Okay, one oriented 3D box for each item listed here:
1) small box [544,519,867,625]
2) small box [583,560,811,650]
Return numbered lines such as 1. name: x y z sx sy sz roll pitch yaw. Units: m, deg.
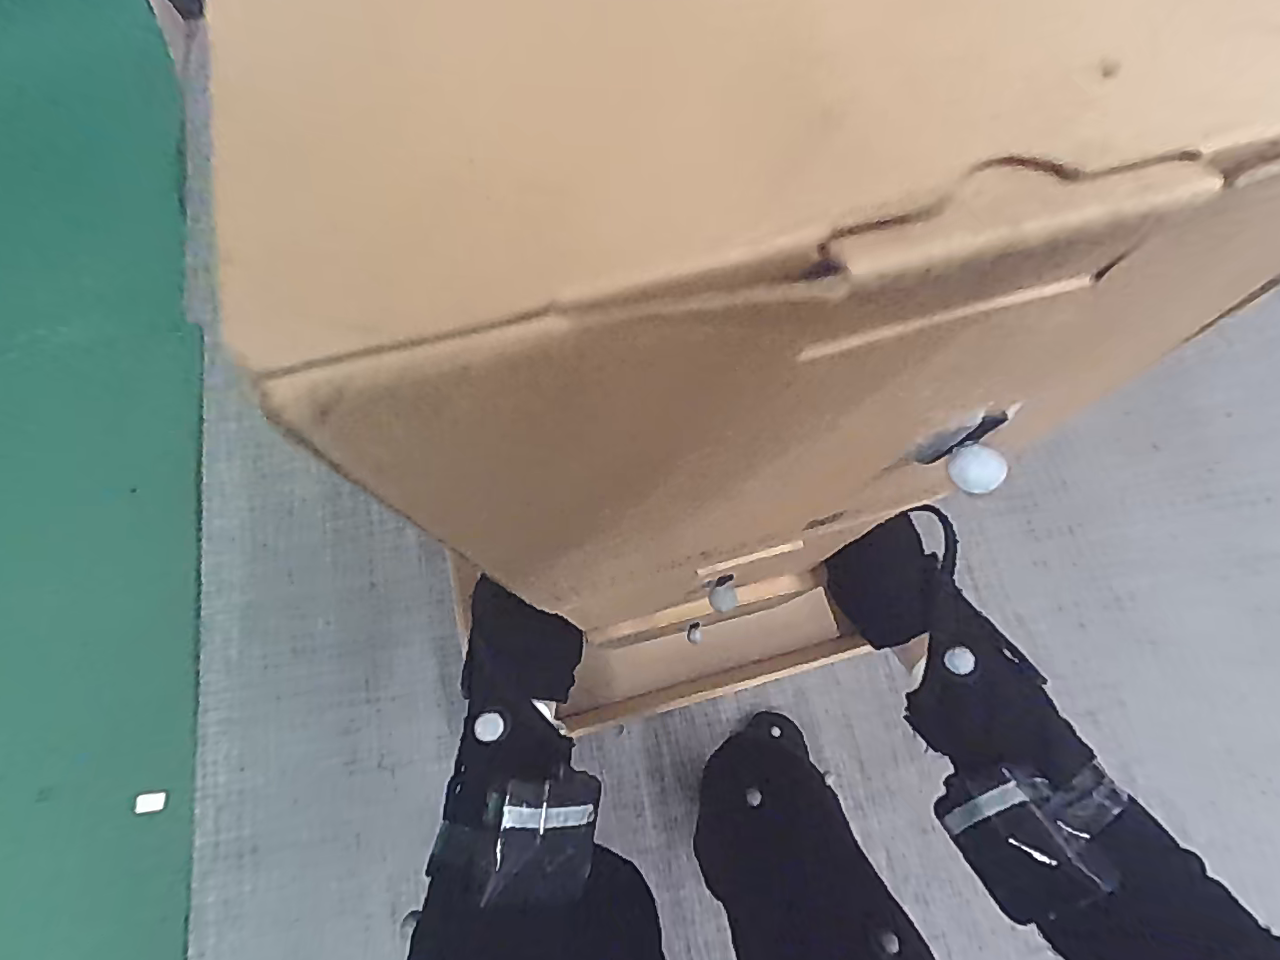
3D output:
1. small box: 0.015 -0.012 0.354 0.168 0.176 0.179 -18 71 -4
2. small box: 0.029 0.054 0.501 0.179 0.176 0.168 -13 70 -3
